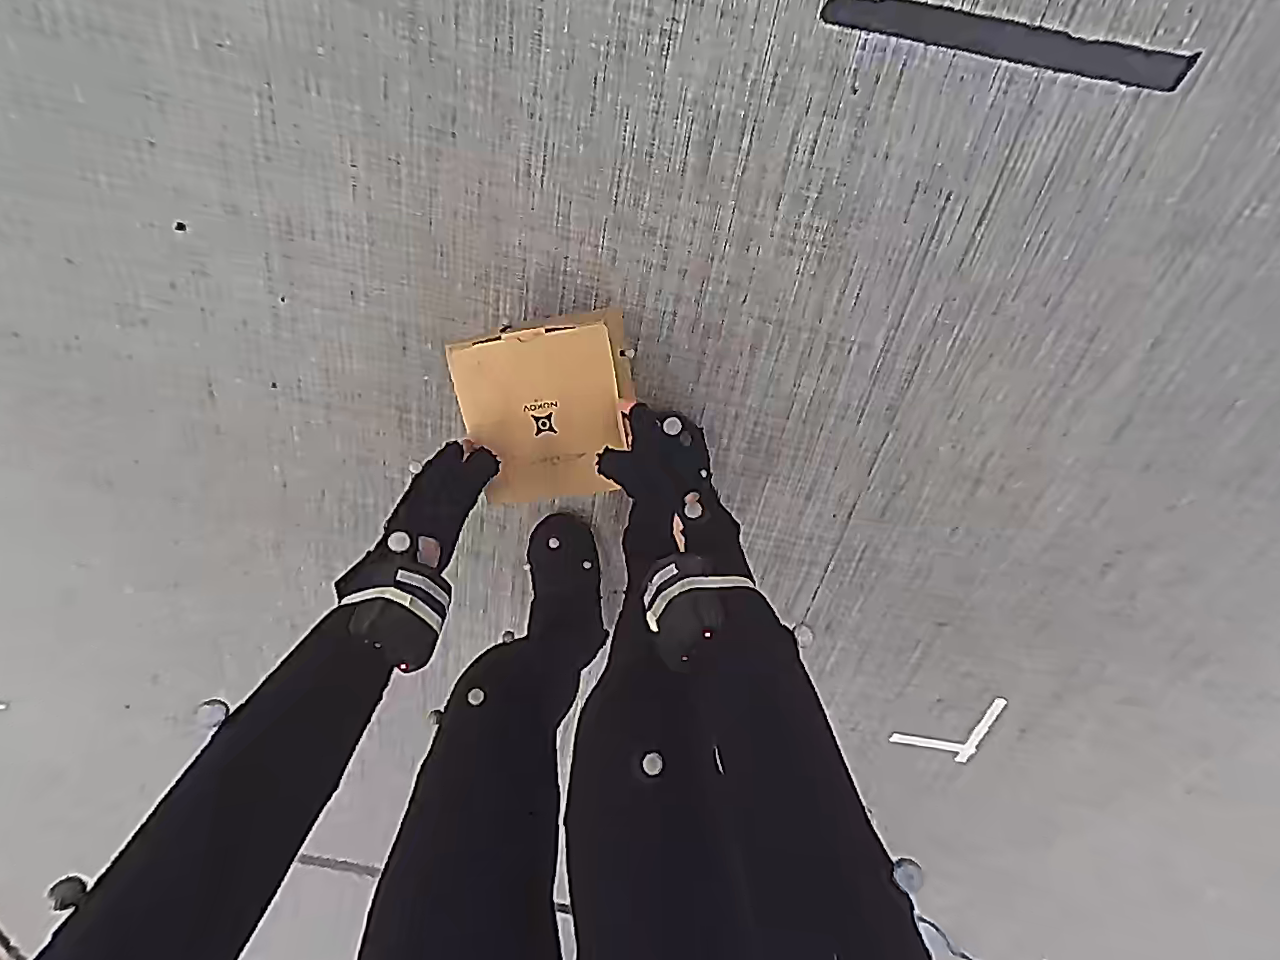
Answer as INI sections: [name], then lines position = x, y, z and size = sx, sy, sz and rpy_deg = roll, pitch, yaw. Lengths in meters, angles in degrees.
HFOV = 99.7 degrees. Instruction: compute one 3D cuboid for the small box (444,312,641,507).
[small box]
position = -0.094, -0.090, 0.621
size = 0.168, 0.176, 0.179
rpy_deg = -8, 112, 7
